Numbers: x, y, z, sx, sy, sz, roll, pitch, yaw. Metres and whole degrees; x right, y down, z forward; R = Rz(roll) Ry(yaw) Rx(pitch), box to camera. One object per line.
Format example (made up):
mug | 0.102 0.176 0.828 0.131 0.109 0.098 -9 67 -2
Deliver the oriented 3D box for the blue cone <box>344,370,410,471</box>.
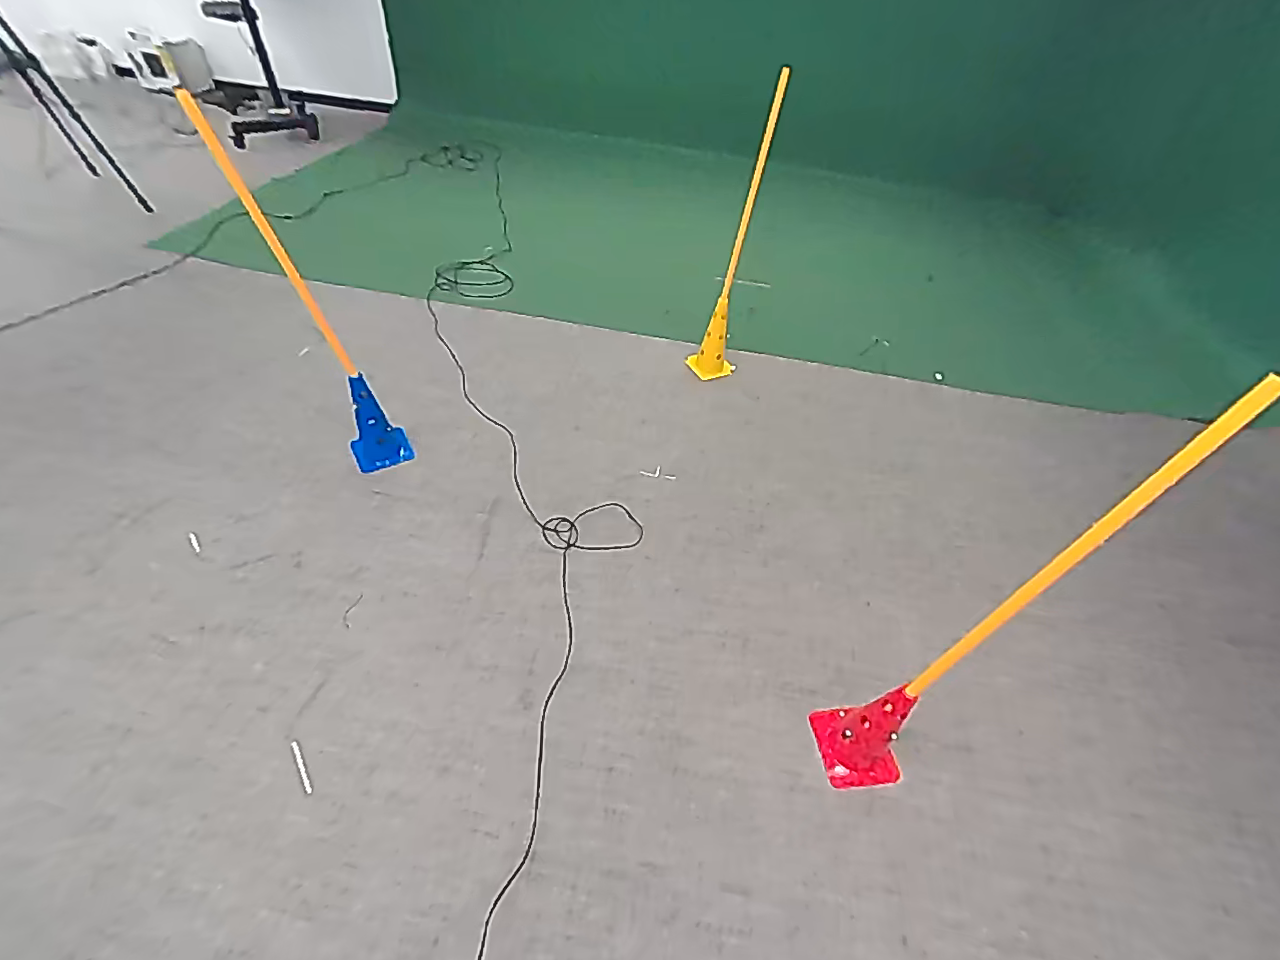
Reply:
blue cone | -0.983 -0.228 1.947 0.193 0.380 0.192 -25 55 -24
